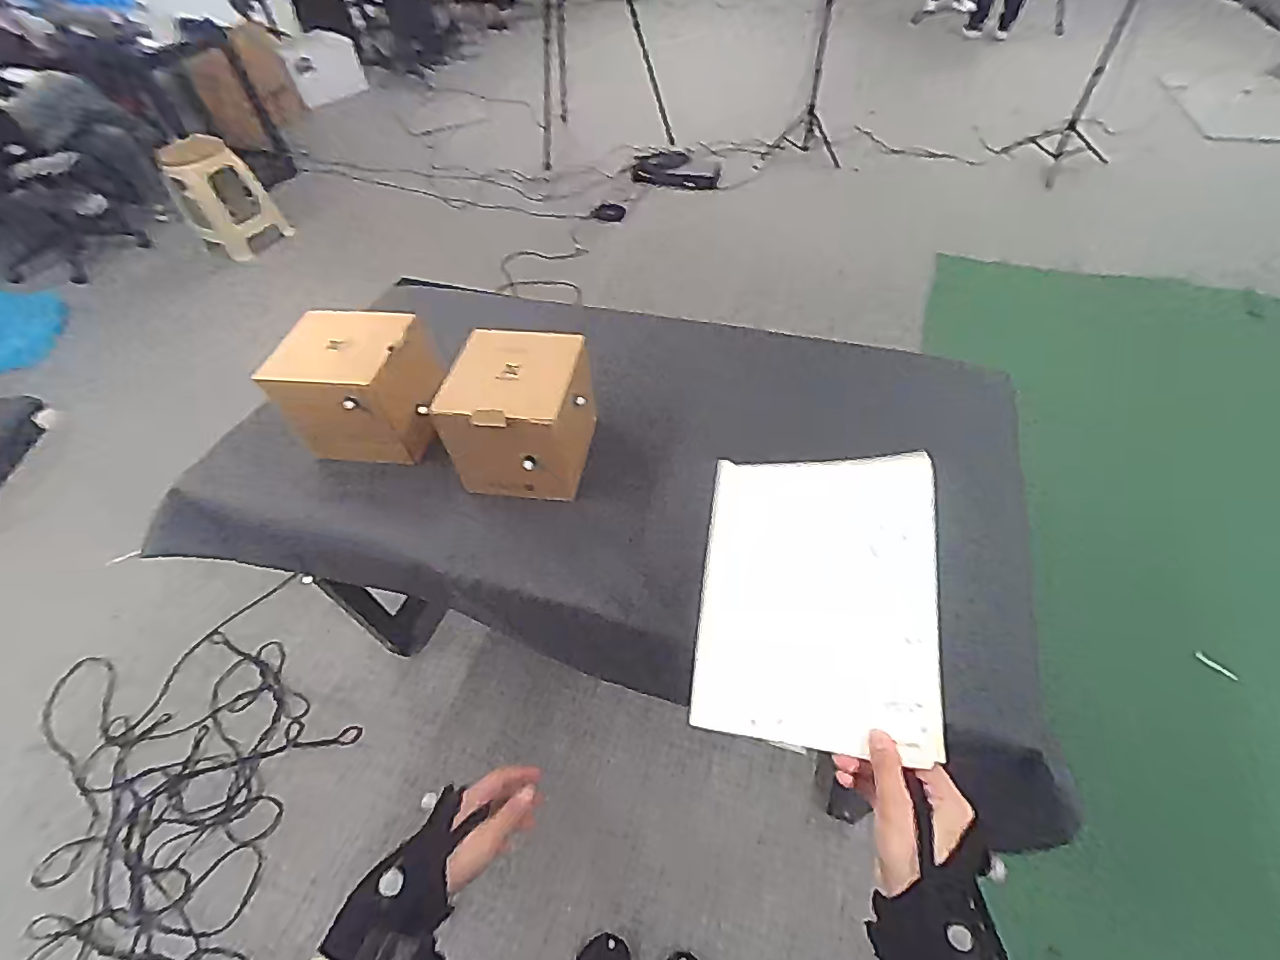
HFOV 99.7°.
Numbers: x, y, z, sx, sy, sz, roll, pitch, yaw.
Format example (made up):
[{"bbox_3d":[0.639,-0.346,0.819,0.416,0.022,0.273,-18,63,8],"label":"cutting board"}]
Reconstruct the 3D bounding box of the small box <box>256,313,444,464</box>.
[{"bbox_3d":[-0.430,-0.139,0.842,0.179,0.176,0.168,4,51,6],"label":"small box"}]

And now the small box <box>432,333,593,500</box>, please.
[{"bbox_3d":[-0.168,-0.090,0.784,0.168,0.176,0.179,6,50,7],"label":"small box"}]
